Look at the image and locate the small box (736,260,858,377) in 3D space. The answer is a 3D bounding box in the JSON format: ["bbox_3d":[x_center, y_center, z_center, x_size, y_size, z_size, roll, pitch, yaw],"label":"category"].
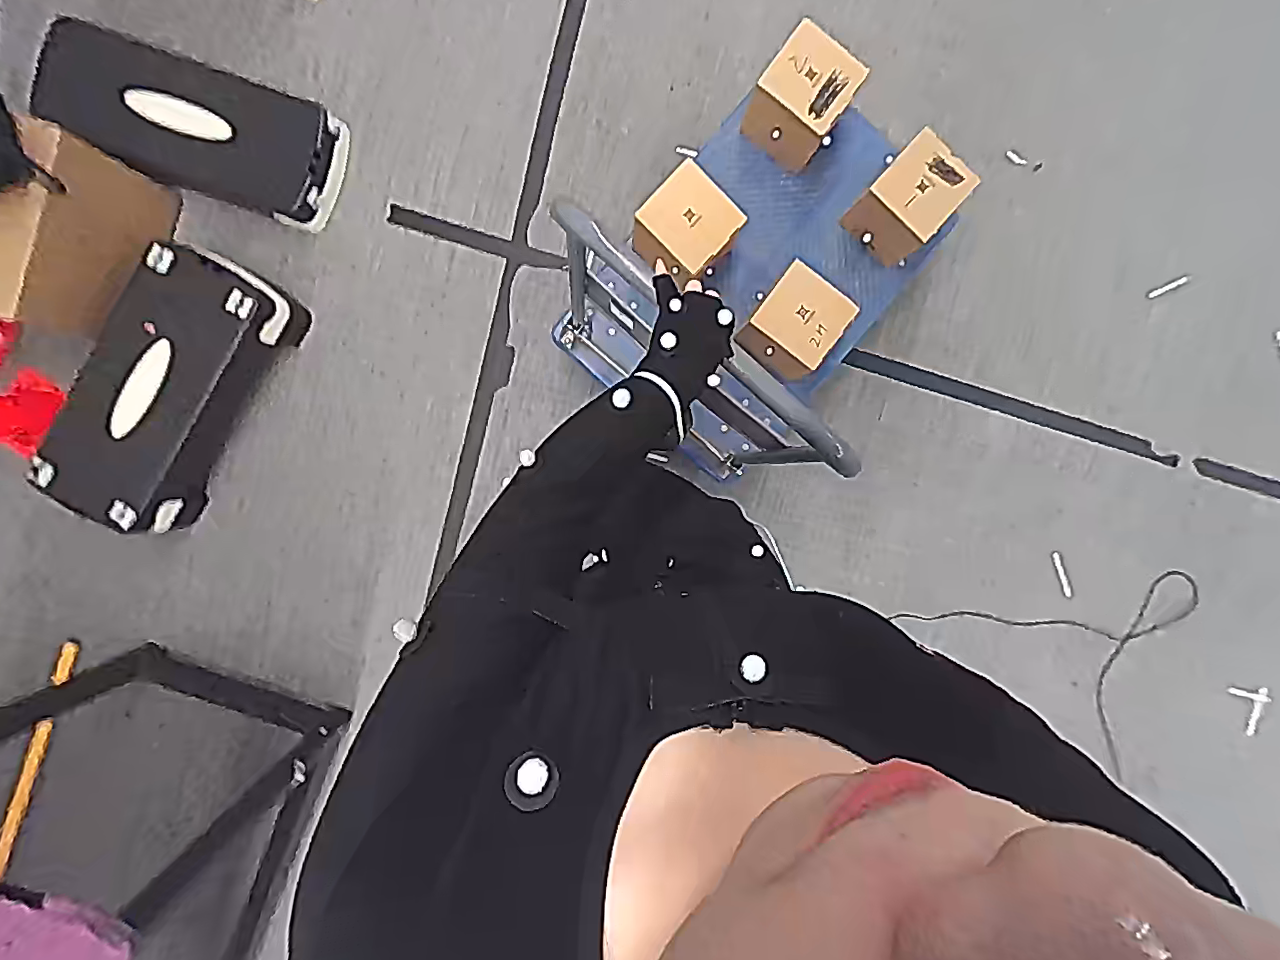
[{"bbox_3d":[0.339,-0.347,1.209,0.179,0.176,0.168,37,91,-4],"label":"small box"}]

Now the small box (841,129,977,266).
[{"bbox_3d":[0.586,-0.616,1.204,0.168,0.176,0.179,42,92,-4],"label":"small box"}]

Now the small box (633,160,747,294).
[{"bbox_3d":[0.099,-0.541,1.186,0.179,0.176,0.168,43,90,-6],"label":"small box"}]
